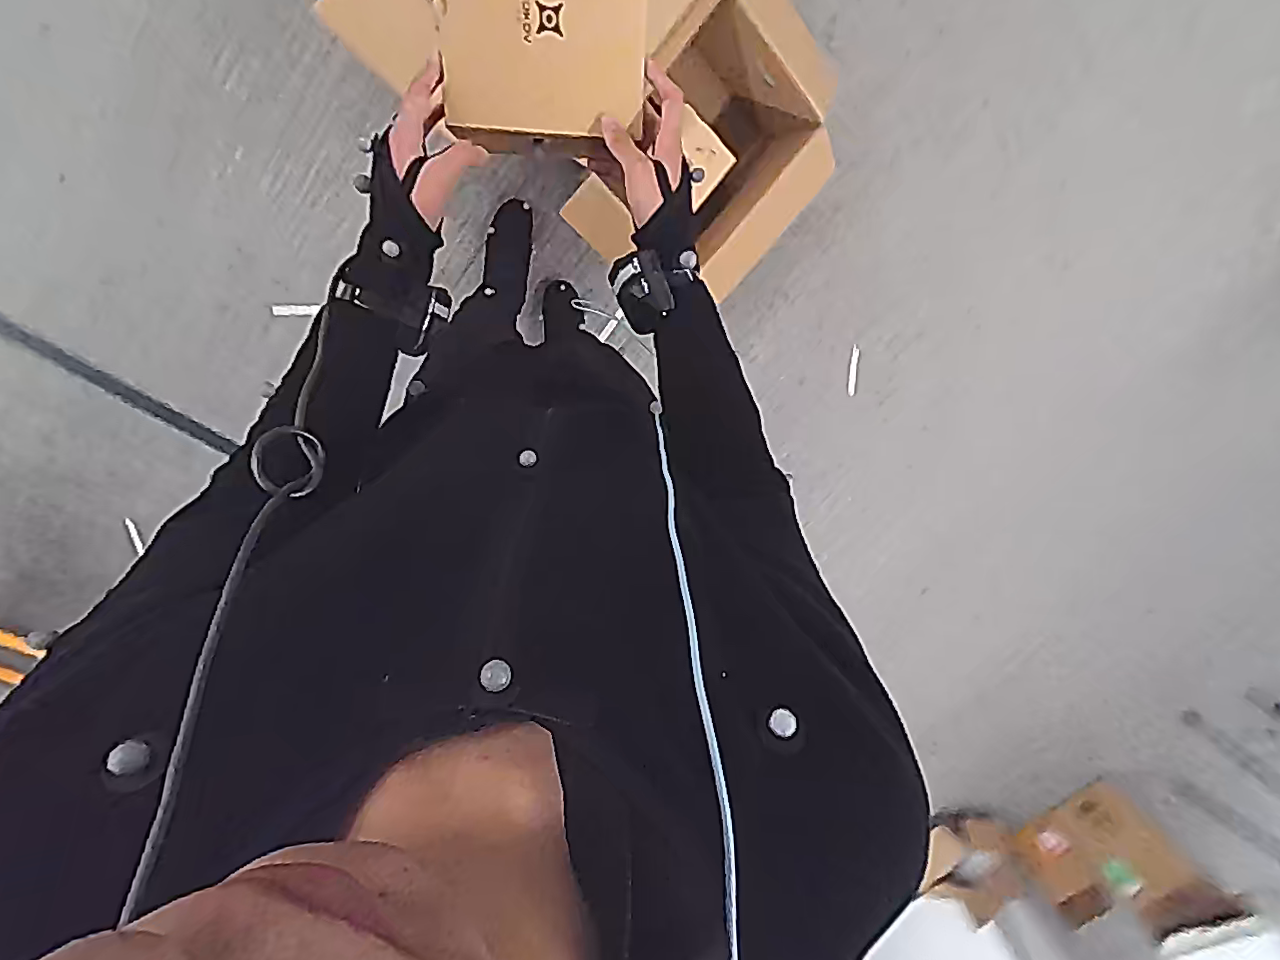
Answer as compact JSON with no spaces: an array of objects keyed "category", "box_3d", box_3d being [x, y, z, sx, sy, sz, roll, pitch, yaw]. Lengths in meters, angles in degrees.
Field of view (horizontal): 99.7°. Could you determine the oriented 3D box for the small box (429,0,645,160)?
[{"category":"small box","box_3d":[-0.096,-0.411,0.518,0.179,0.176,0.168,-3,116,-9]}]
